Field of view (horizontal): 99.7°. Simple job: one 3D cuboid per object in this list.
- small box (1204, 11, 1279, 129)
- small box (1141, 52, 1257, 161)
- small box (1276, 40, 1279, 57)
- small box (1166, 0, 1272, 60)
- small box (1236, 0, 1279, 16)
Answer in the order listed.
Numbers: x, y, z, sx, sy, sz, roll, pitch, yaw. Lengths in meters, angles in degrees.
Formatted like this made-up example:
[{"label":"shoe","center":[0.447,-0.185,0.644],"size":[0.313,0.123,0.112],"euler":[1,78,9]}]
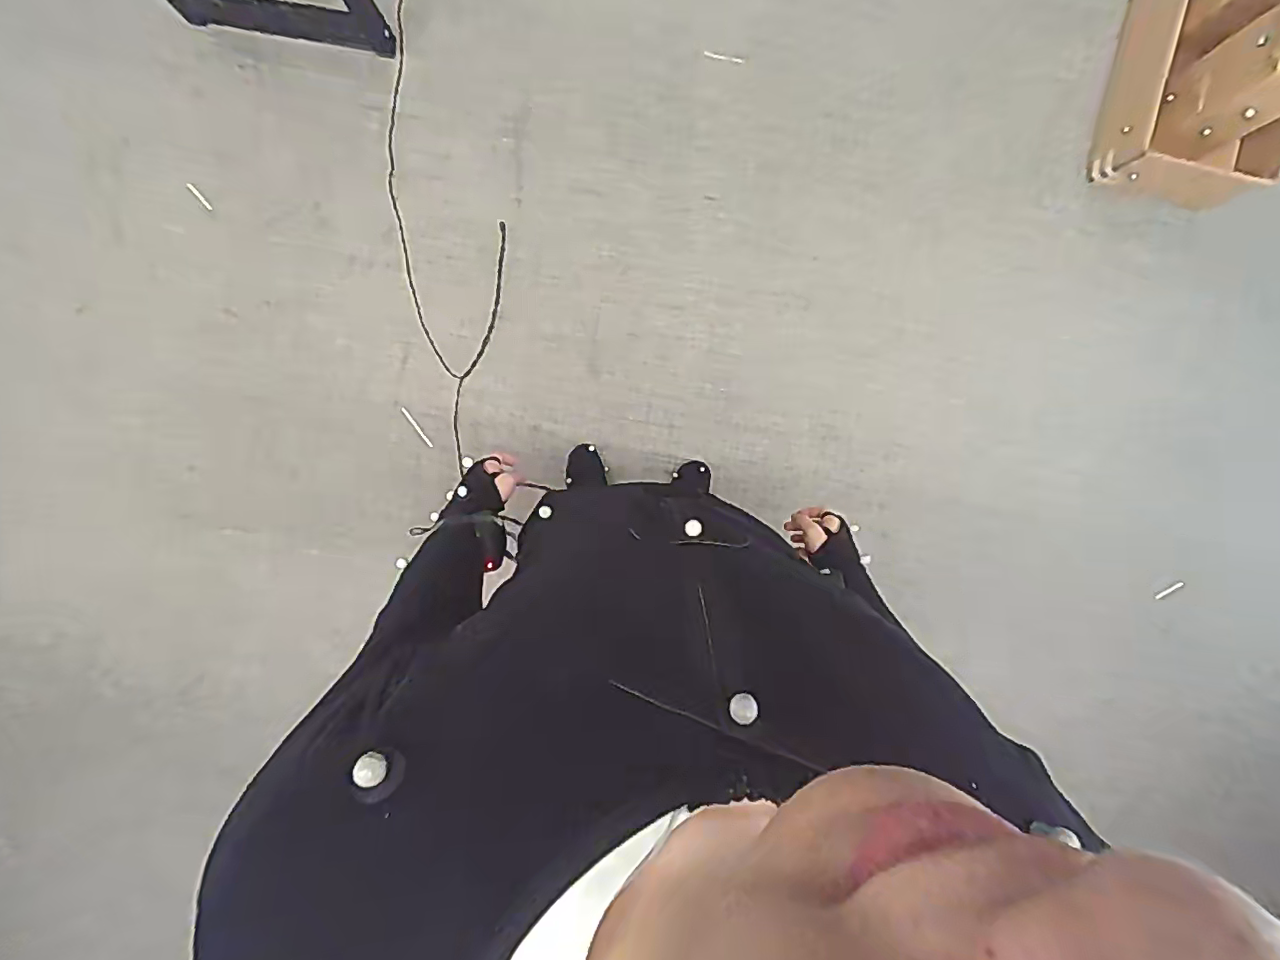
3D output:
[{"label":"small box","center":[1.549,-1.007,1.319],"size":[0.168,0.176,0.179],"euler":[9,93,-2]},{"label":"small box","center":[1.544,-1.015,1.484],"size":[0.179,0.176,0.168],"euler":[13,92,-3]},{"label":"small box","center":[1.549,-1.017,1.156],"size":[0.179,0.176,0.168],"euler":[14,93,-2]},{"label":"small box","center":[1.604,-1.287,1.471],"size":[0.179,0.176,0.168],"euler":[11,94,-2]},{"label":"small box","center":[1.604,-1.276,1.304],"size":[0.168,0.176,0.179],"euler":[11,94,-4]}]
